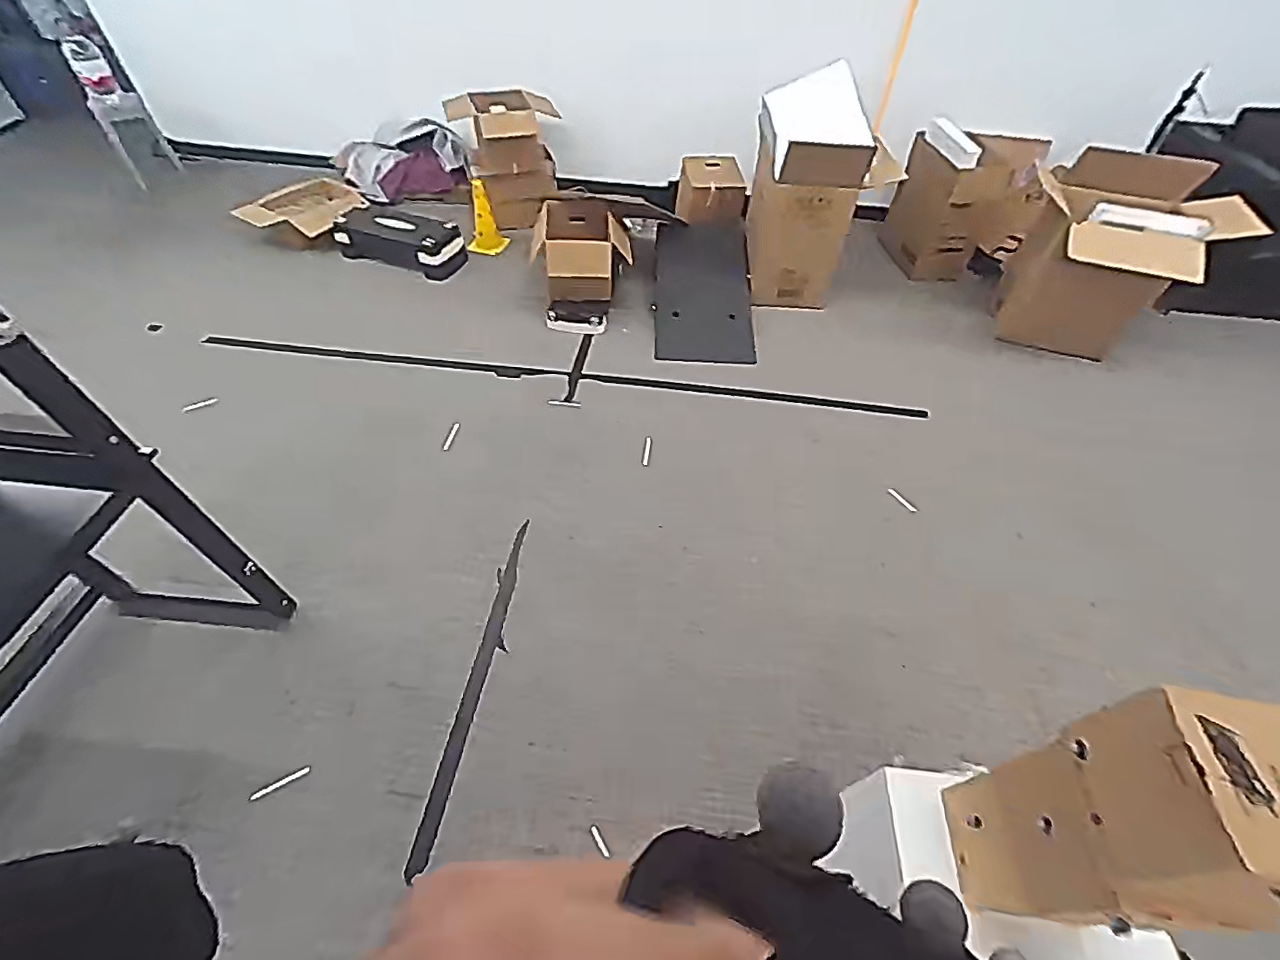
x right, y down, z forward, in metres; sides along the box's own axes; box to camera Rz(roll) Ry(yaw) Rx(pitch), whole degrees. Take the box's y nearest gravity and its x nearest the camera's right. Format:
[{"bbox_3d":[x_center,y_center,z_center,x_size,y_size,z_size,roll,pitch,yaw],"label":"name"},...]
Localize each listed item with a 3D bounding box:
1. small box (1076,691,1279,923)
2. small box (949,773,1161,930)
[{"bbox_3d":[0.607,0.345,0.565,0.179,0.176,0.168,10,51,3],"label":"small box"},{"bbox_3d":[0.596,0.560,0.814,0.179,0.176,0.168,7,51,2],"label":"small box"}]
